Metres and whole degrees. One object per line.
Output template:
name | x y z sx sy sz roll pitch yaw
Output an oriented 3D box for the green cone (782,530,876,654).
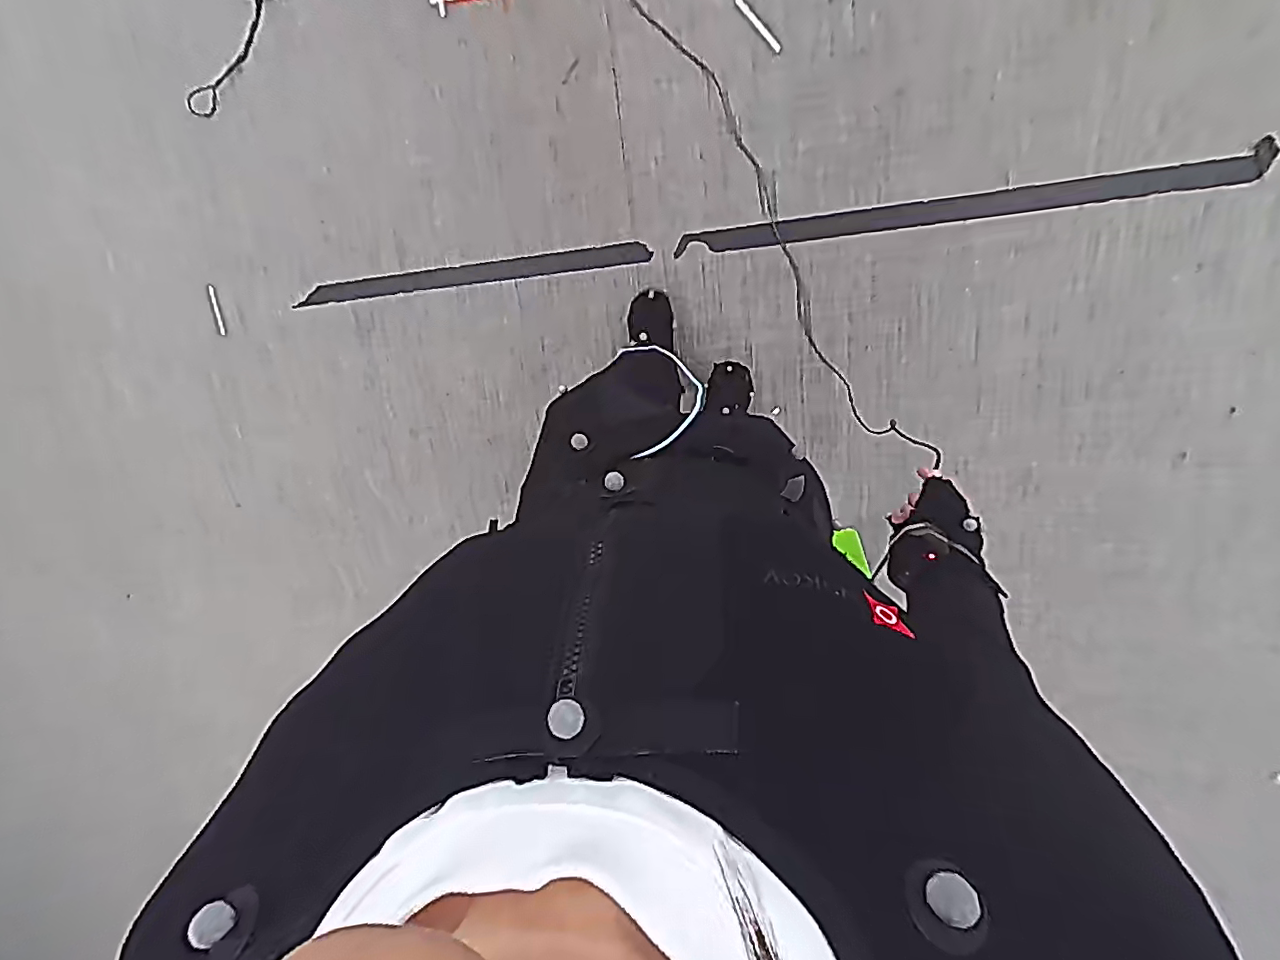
green cone | 0.462 0.285 1.266 0.202 0.368 0.200 -19 100 17
